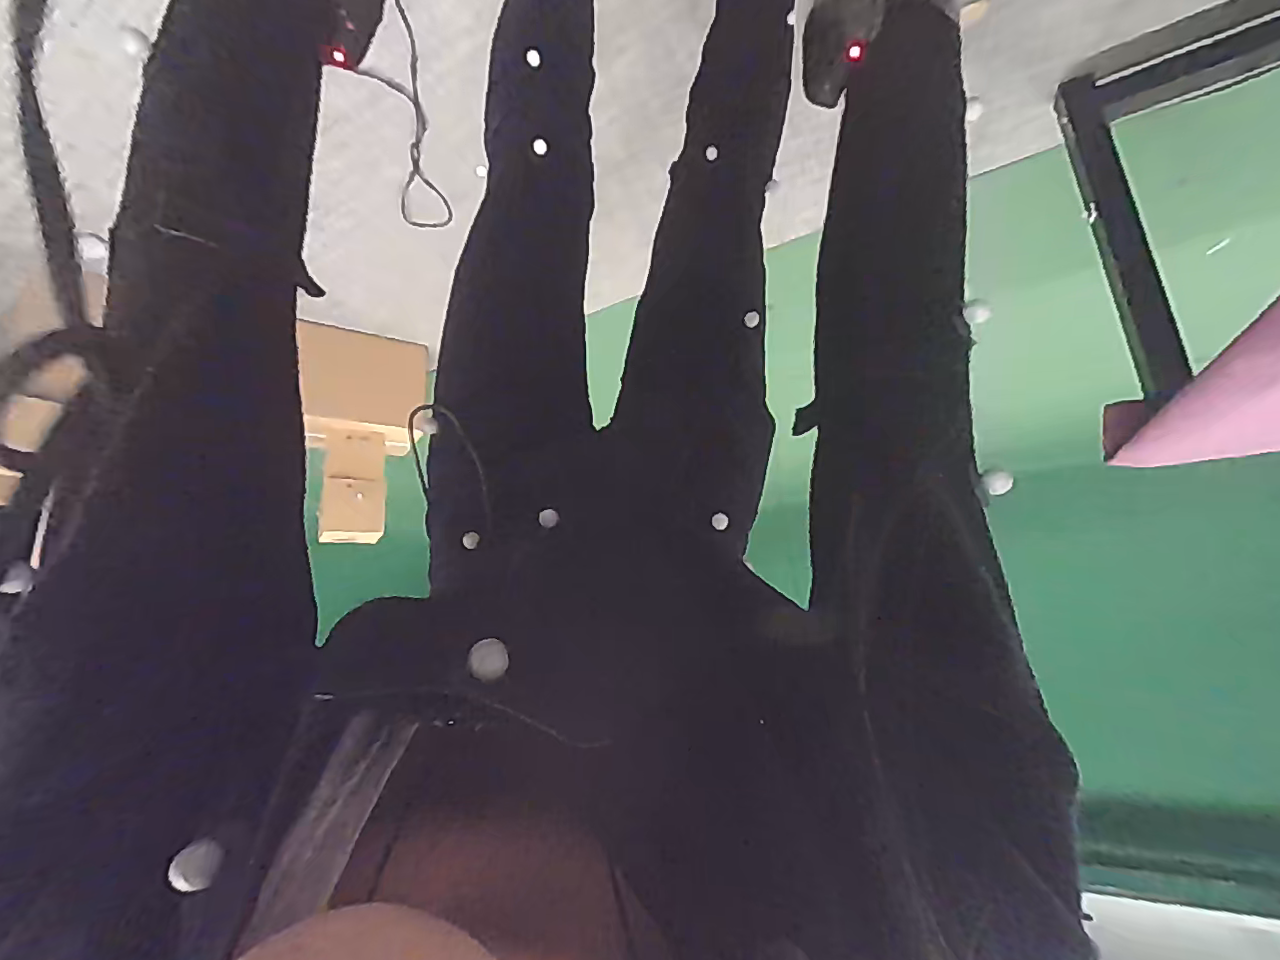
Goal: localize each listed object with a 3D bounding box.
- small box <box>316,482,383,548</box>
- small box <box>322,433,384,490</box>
[{"bbox_3d":[-0.907,0.114,1.692,0.168,0.176,0.179,5,161,-34],"label":"small box"},{"bbox_3d":[-0.925,-0.041,1.744,0.168,0.176,0.179,4,163,-29],"label":"small box"}]
